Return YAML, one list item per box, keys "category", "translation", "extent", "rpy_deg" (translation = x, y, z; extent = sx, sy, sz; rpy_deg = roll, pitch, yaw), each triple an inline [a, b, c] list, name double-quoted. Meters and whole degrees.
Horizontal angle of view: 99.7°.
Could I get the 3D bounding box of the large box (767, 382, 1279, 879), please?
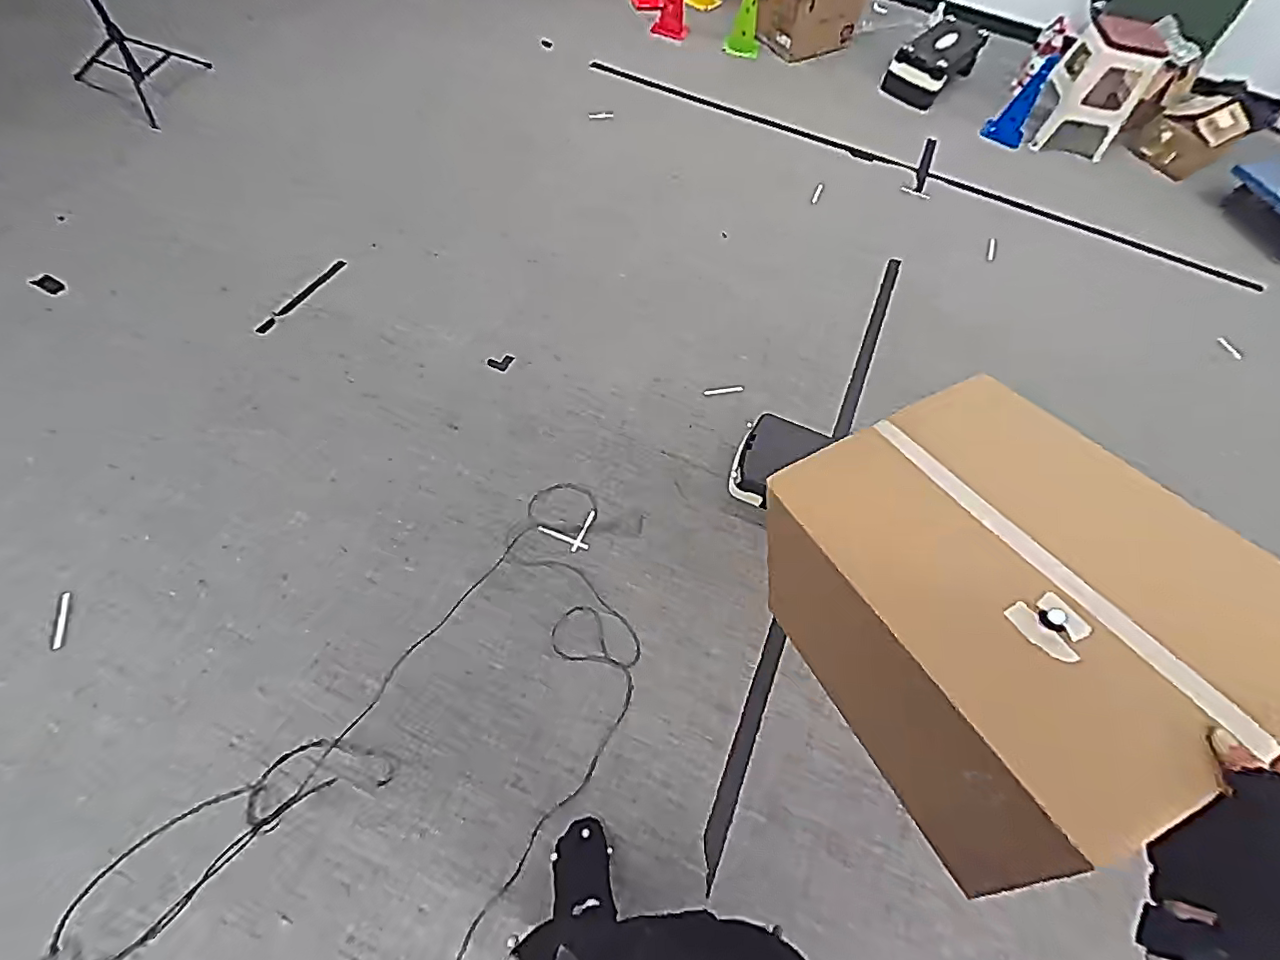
- category: "large box"
  translation: [0.389, 0.161, 0.635]
  extent: [0.320, 0.320, 0.408]
  rpy_deg: [-26, 50, -7]
